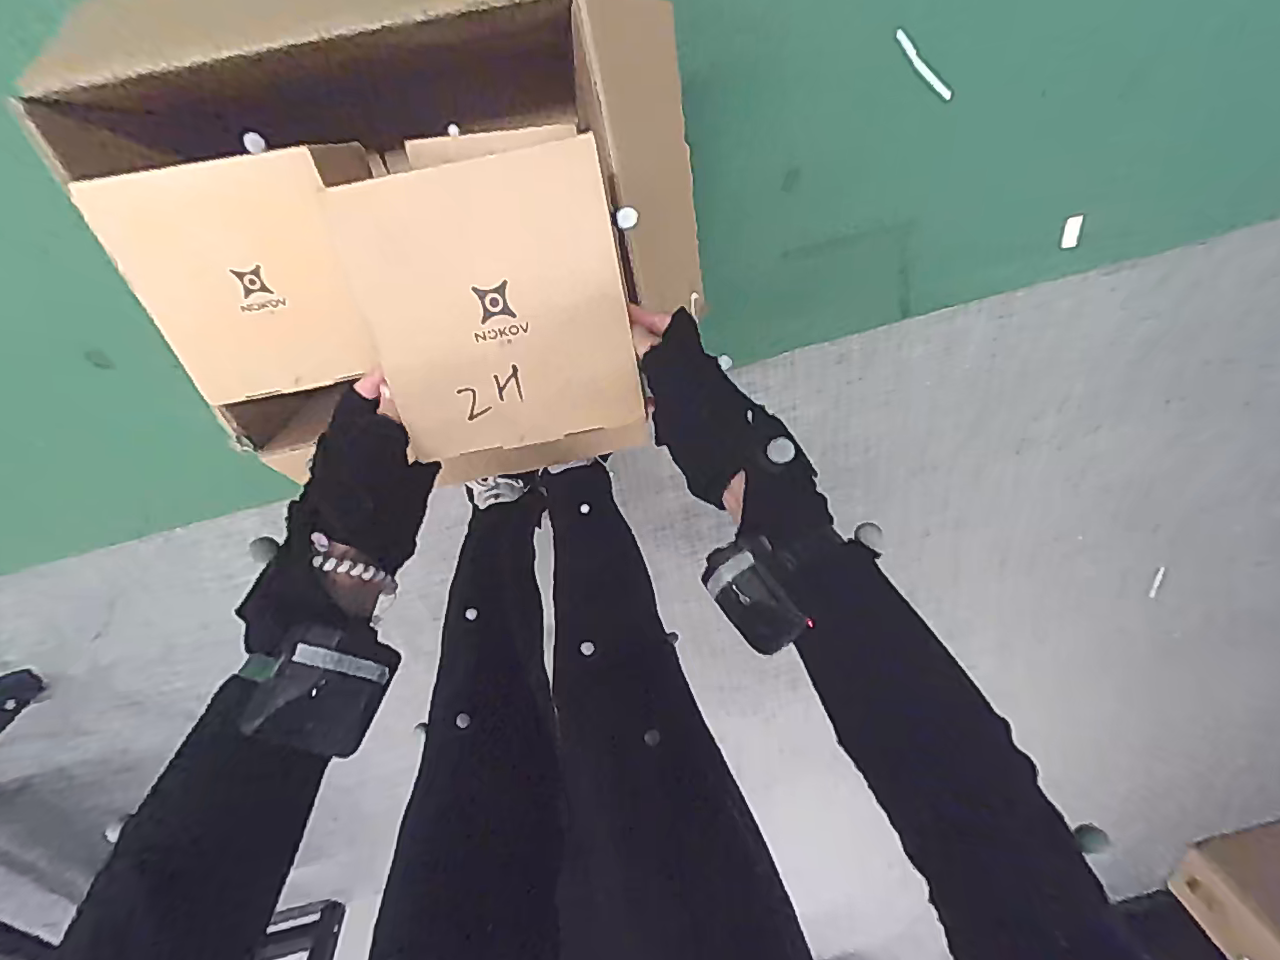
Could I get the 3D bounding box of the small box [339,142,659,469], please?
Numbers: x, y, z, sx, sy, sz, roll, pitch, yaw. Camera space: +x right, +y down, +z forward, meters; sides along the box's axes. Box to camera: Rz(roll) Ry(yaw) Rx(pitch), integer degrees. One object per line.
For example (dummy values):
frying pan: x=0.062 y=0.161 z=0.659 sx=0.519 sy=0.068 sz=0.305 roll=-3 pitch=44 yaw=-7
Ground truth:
small box: x=-0.085 y=-0.129 z=0.414 sx=0.168 sy=0.176 sz=0.179 roll=-10 pitch=112 yaw=2
